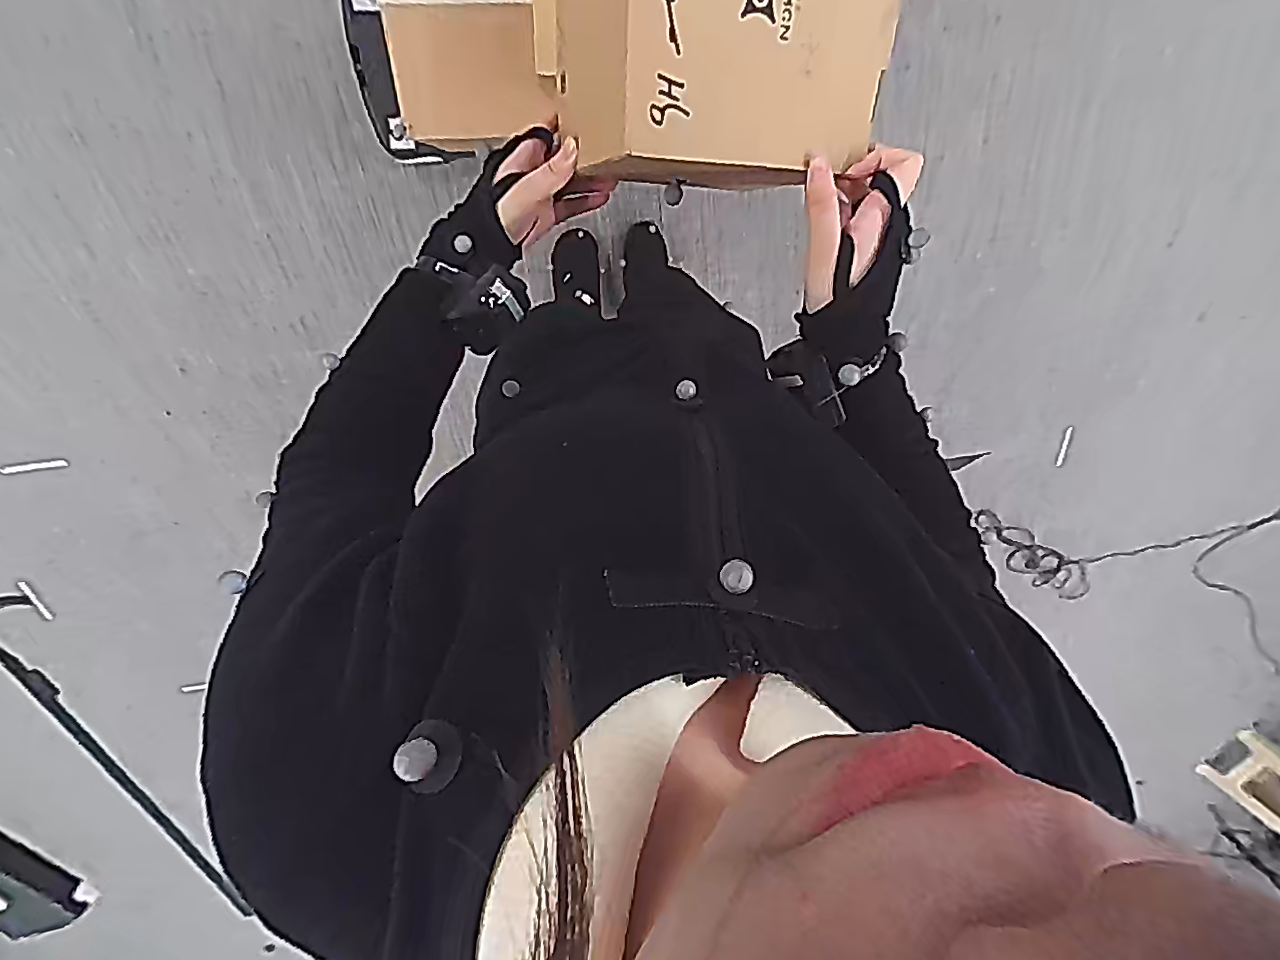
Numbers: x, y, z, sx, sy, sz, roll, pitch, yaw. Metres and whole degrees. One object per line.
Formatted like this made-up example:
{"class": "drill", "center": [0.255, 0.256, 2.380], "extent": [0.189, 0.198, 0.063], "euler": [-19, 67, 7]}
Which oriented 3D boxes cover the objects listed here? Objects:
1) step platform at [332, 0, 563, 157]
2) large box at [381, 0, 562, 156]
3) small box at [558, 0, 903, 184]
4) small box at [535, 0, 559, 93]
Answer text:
{"class": "step platform", "center": [-0.200, -0.789, 1.041], "extent": [0.684, 0.204, 0.286], "euler": [-3, 118, -6]}
{"class": "large box", "center": [-0.148, -0.691, 0.829], "extent": [0.408, 0.320, 0.320], "euler": [-5, 118, -5]}
{"class": "small box", "center": [0.049, -0.303, 0.366], "extent": [0.179, 0.176, 0.168], "euler": [-7, 115, -20]}
{"class": "small box", "center": [-0.034, -0.561, 0.636], "extent": [0.179, 0.176, 0.168], "euler": [-2, 119, -7]}
